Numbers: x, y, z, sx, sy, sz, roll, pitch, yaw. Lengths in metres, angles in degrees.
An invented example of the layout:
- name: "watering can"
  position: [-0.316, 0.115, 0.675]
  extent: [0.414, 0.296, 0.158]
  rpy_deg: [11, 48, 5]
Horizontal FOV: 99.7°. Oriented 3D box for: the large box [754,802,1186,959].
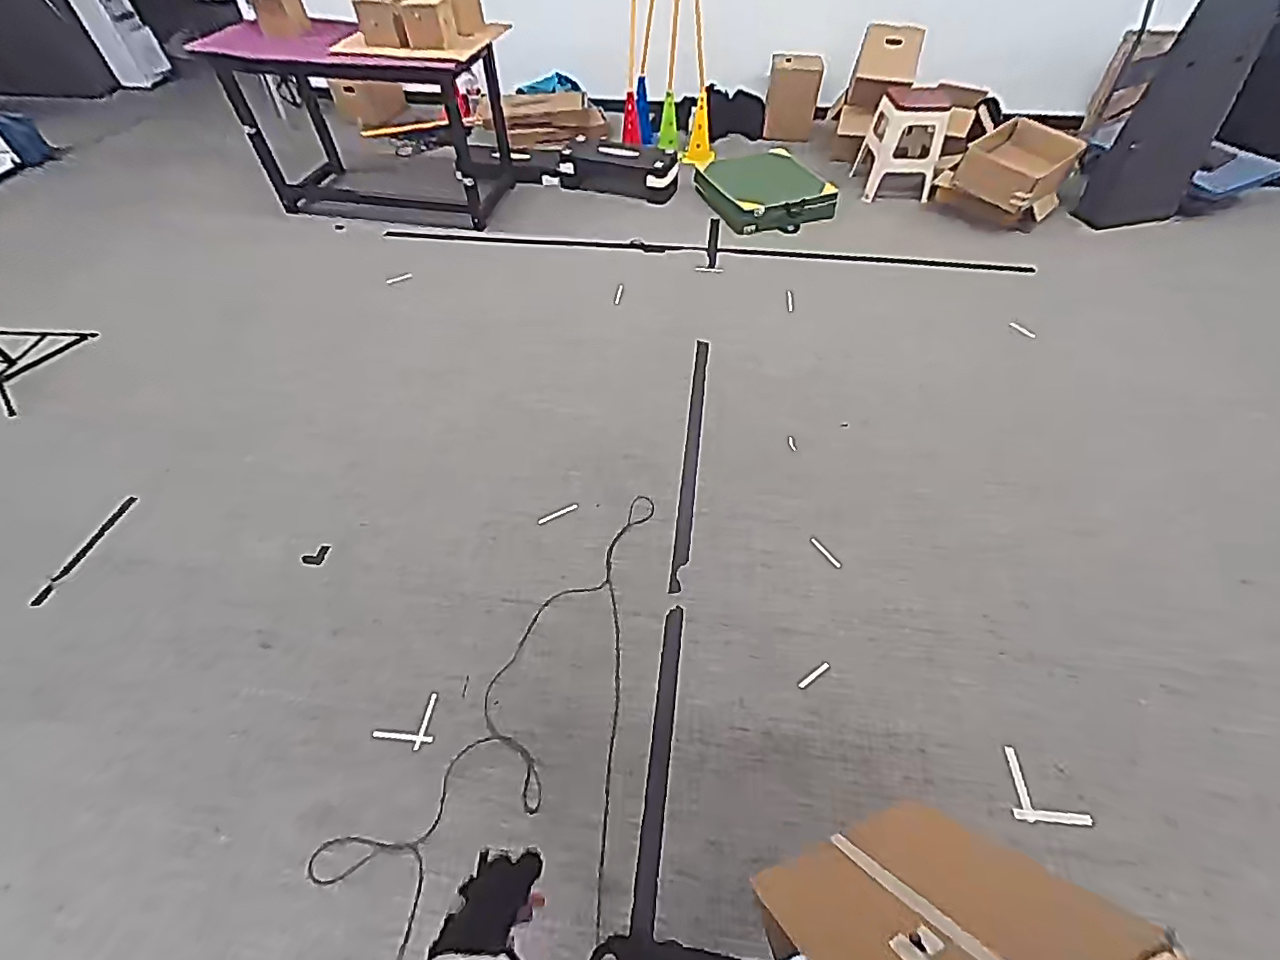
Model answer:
- name: "large box"
  position: [0.397, 0.676, 0.657]
  extent: [0.320, 0.408, 0.320]
  rpy_deg: [-18, 81, -14]
